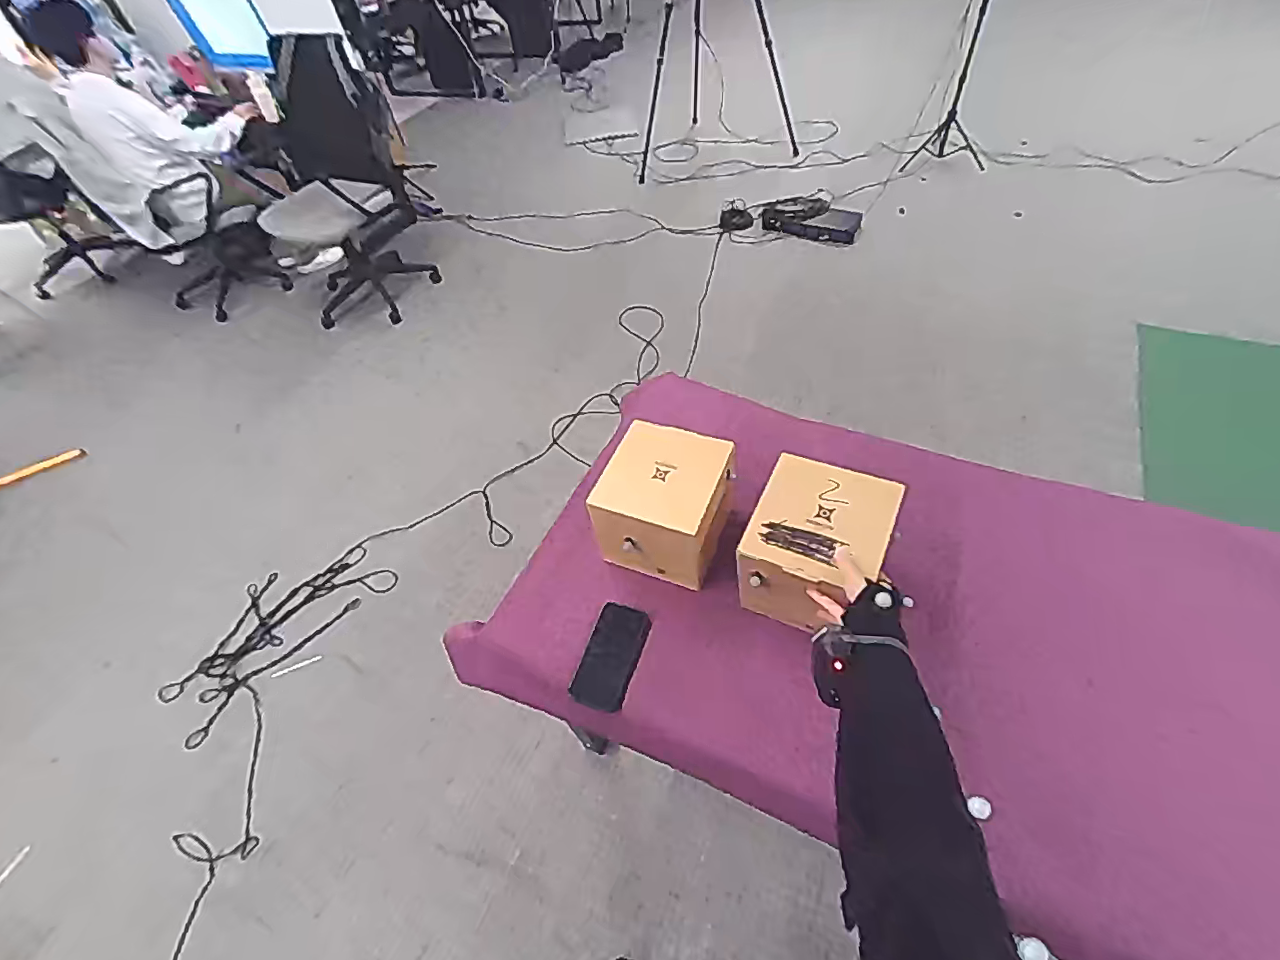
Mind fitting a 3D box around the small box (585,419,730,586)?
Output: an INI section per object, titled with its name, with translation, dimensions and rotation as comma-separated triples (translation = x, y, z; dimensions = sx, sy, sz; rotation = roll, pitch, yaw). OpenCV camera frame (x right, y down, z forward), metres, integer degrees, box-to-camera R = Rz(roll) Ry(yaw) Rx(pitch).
[small box]
translation = 0.038, 0.038, 0.835
dimensions = 0.168, 0.176, 0.179
rotation = 14, 54, 19
